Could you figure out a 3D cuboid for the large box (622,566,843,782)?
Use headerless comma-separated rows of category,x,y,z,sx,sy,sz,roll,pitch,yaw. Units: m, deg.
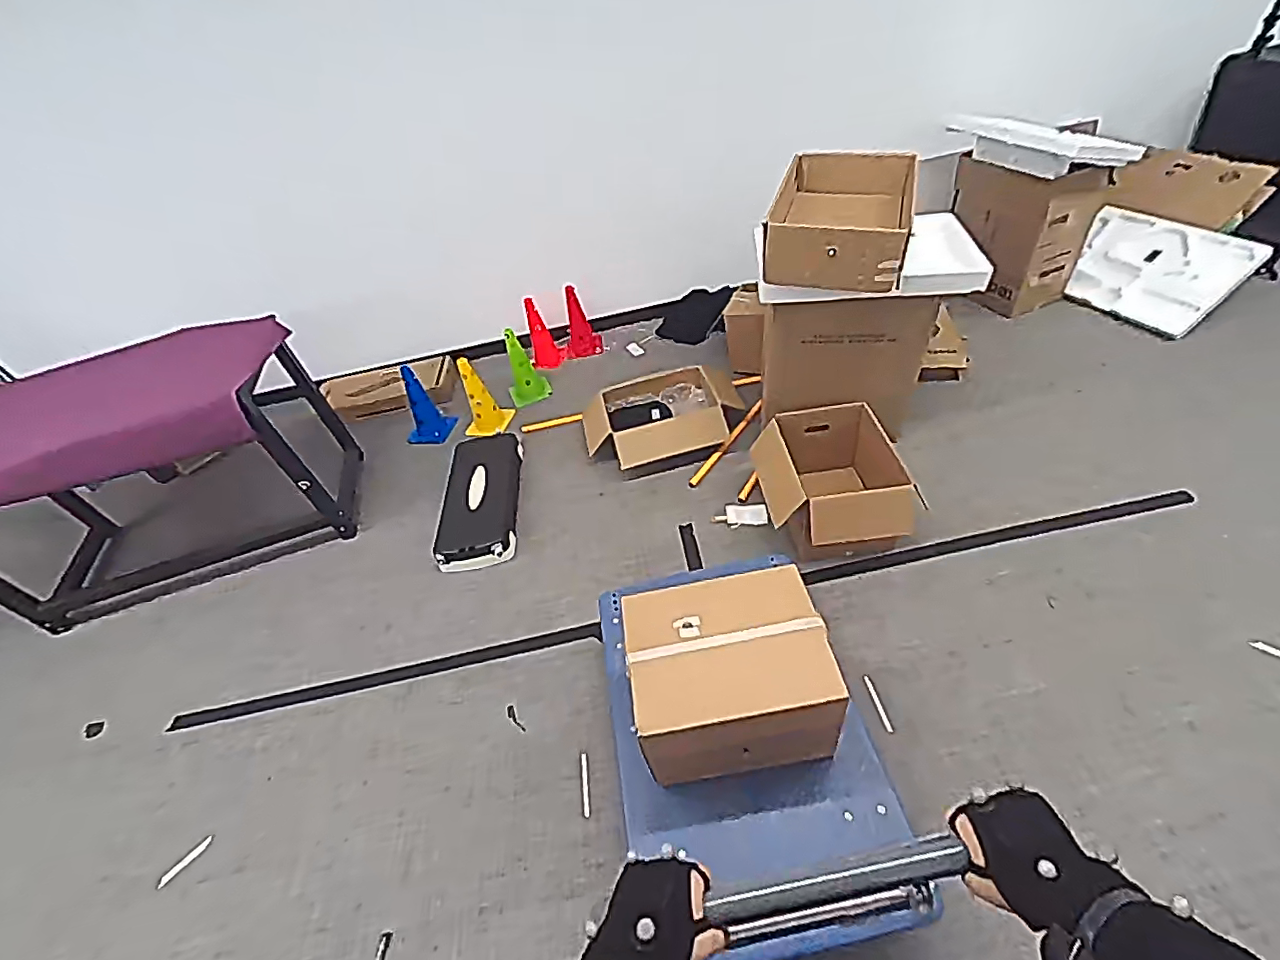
large box,0.197,0.444,1.229,0.408,0.320,0.320,-12,43,1
